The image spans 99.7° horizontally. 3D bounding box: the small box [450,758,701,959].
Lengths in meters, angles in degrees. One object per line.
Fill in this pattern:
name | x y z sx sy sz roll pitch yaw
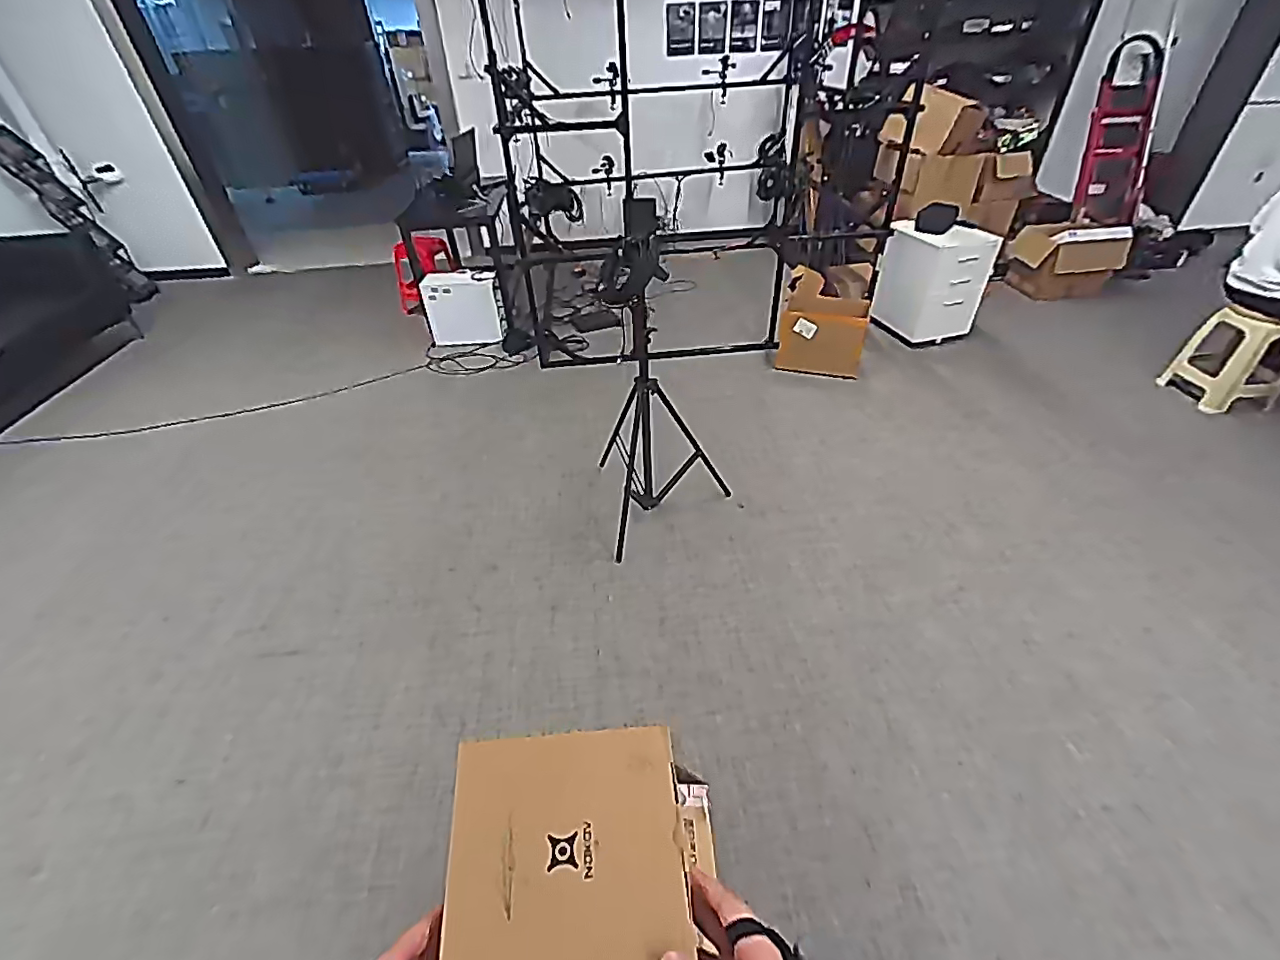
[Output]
small box | -0.052 0.355 0.462 0.179 0.176 0.168 -5 49 -5
